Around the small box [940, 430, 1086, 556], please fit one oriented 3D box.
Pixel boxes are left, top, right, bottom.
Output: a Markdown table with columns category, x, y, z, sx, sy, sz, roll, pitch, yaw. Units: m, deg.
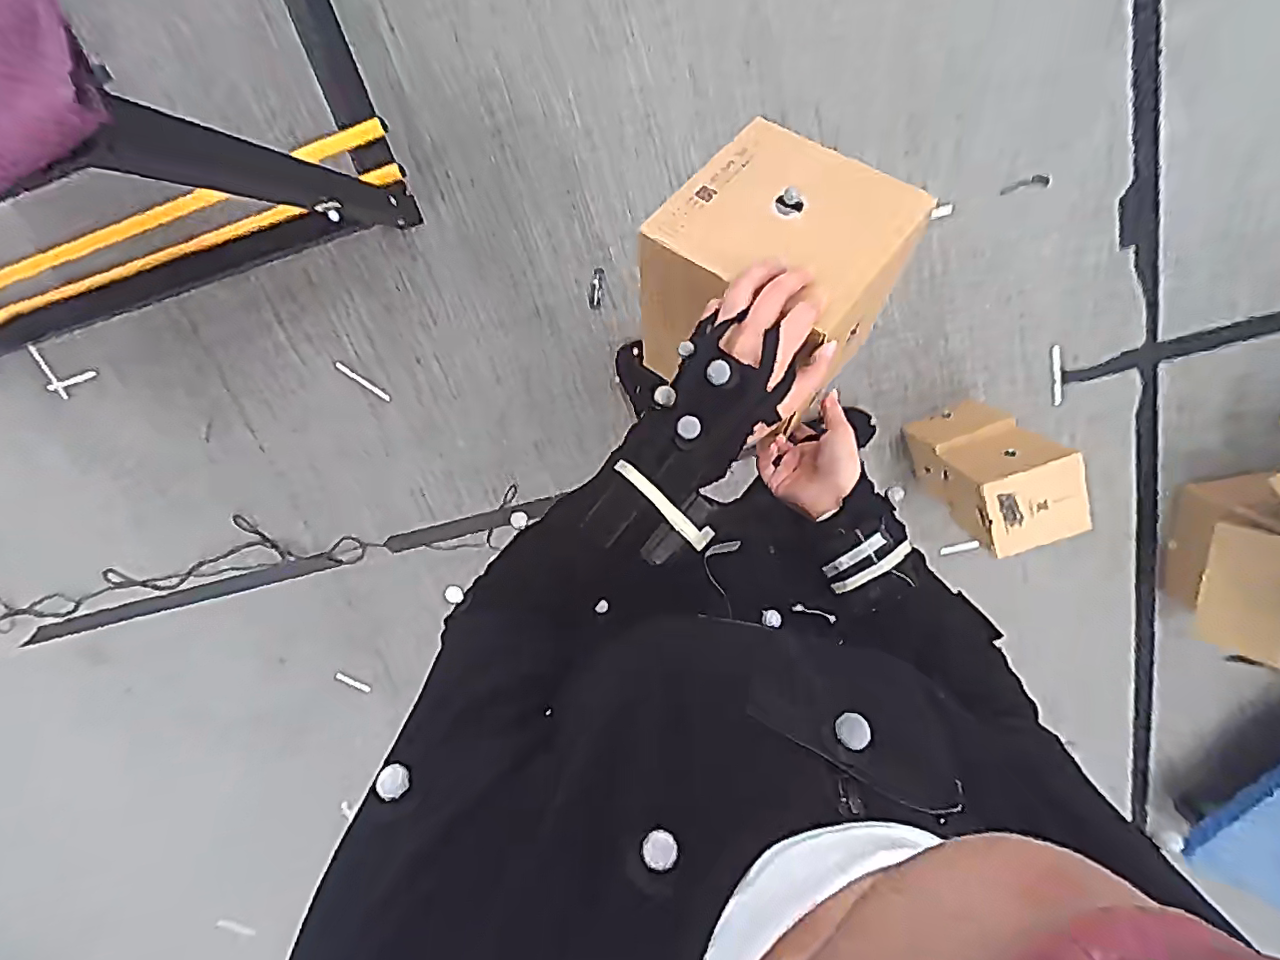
| category | x | y | z | sx | sy | sz | roll | pitch | yaw |
| --- | --- | --- | --- | --- | --- | --- | --- | --- | --- |
| small box | 0.722 | 0.019 | 1.067 | 0.179 | 0.176 | 0.168 | -20 | 109 | 8 |

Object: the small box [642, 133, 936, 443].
| category | x | y | z | sx | sy | sz | roll | pitch | yaw |
| --- | --- | --- | --- | --- | --- | --- | --- | --- | --- |
| small box | 0.113 | -0.171 | 0.483 | 0.176 | 0.179 | 0.168 | 37 | 73 | 16 |
